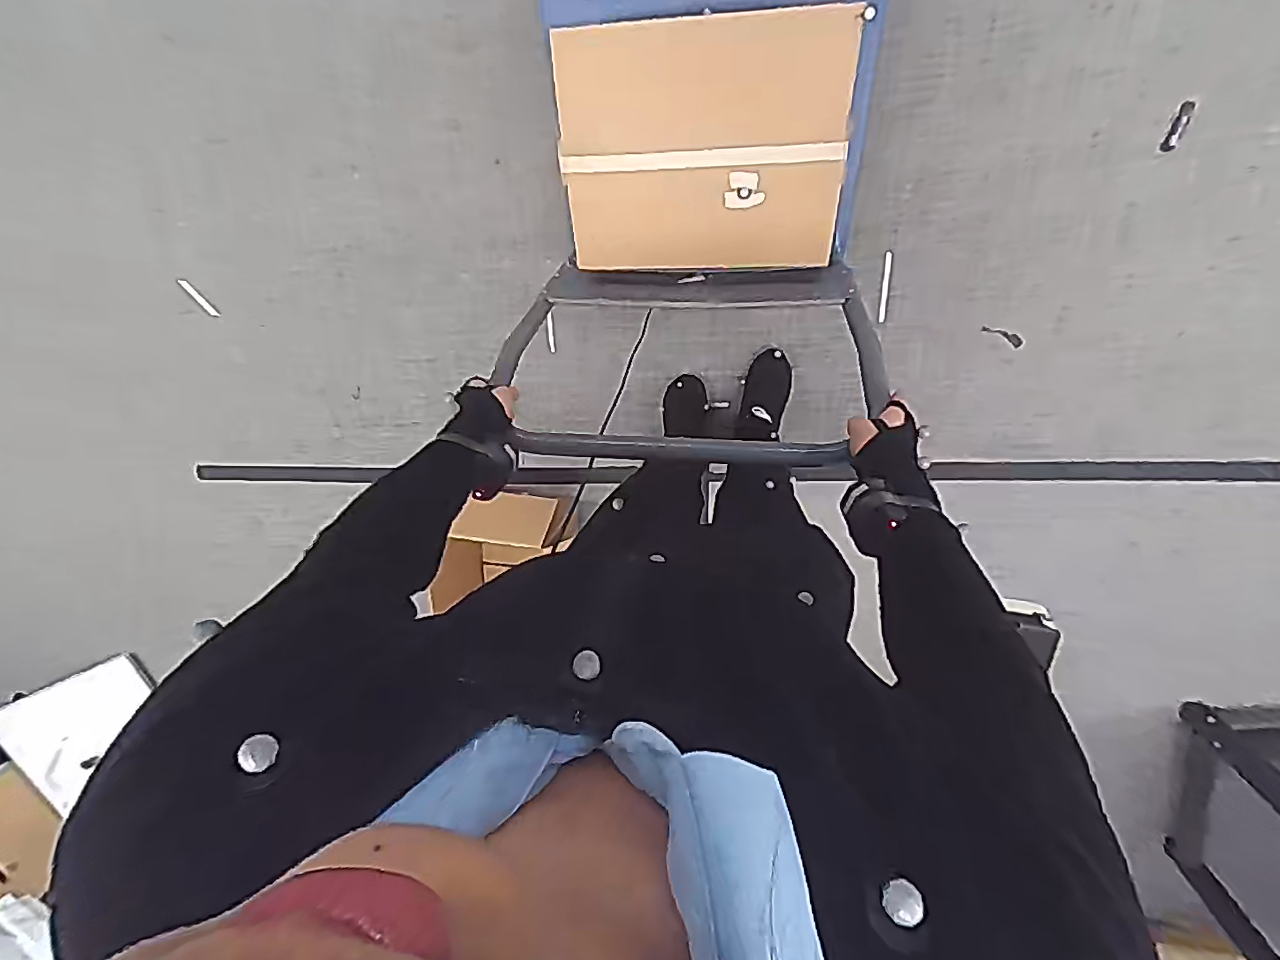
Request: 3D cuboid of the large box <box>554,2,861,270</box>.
[{"bbox_3d":[0.108,-0.562,0.905,0.408,0.320,0.320,2,129,8],"label":"large box"}]
